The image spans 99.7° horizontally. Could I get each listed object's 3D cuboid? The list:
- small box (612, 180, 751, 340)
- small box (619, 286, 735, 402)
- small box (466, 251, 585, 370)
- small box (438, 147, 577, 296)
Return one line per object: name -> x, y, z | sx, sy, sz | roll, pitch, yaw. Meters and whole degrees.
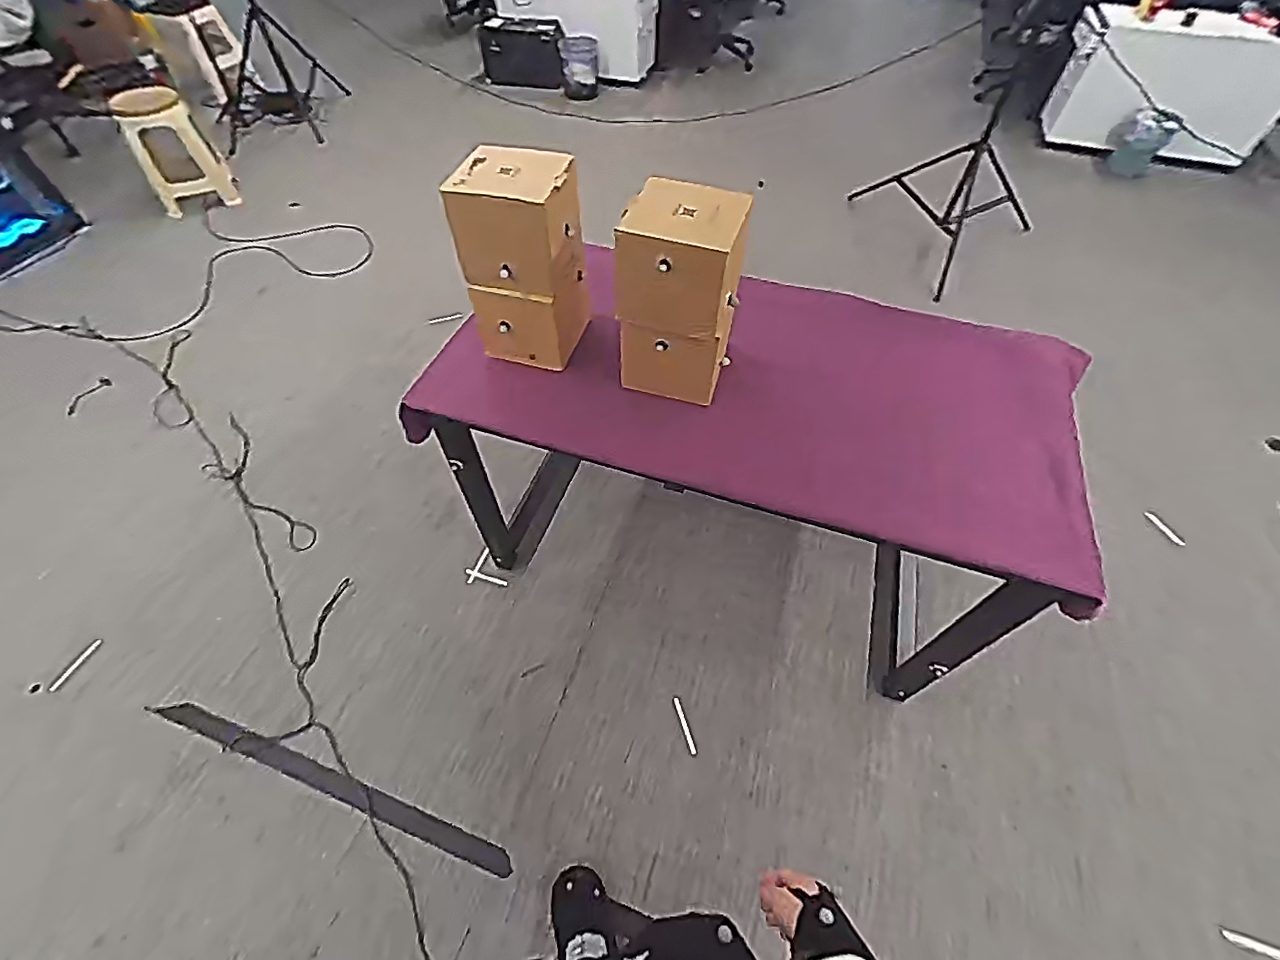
small box -> 0.064, -0.354, 0.881 | 0.179, 0.176, 0.168 | 17, 57, 10
small box -> 0.068, -0.269, 1.019 | 0.179, 0.176, 0.168 | 14, 55, 8
small box -> -0.214, -0.342, 1.070 | 0.168, 0.176, 0.179 | 13, 55, 8
small box -> -0.215, -0.445, 0.942 | 0.179, 0.176, 0.168 | 11, 54, 7
